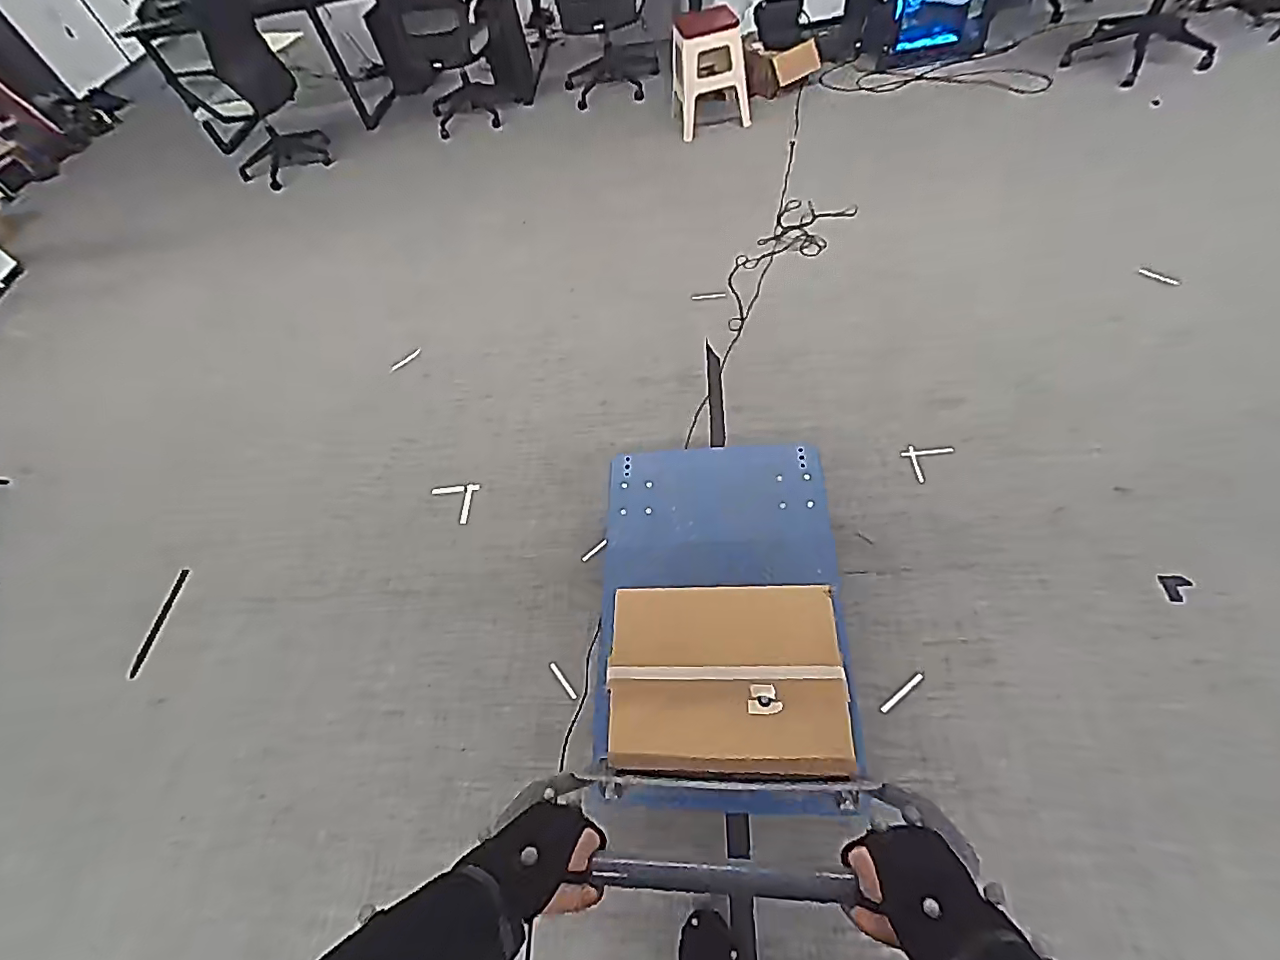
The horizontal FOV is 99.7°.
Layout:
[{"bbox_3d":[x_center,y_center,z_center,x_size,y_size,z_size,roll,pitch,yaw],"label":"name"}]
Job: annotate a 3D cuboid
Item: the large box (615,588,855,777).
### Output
[{"bbox_3d":[0.173,0.422,1.094,0.408,0.320,0.320,-3,61,8],"label":"large box"}]
